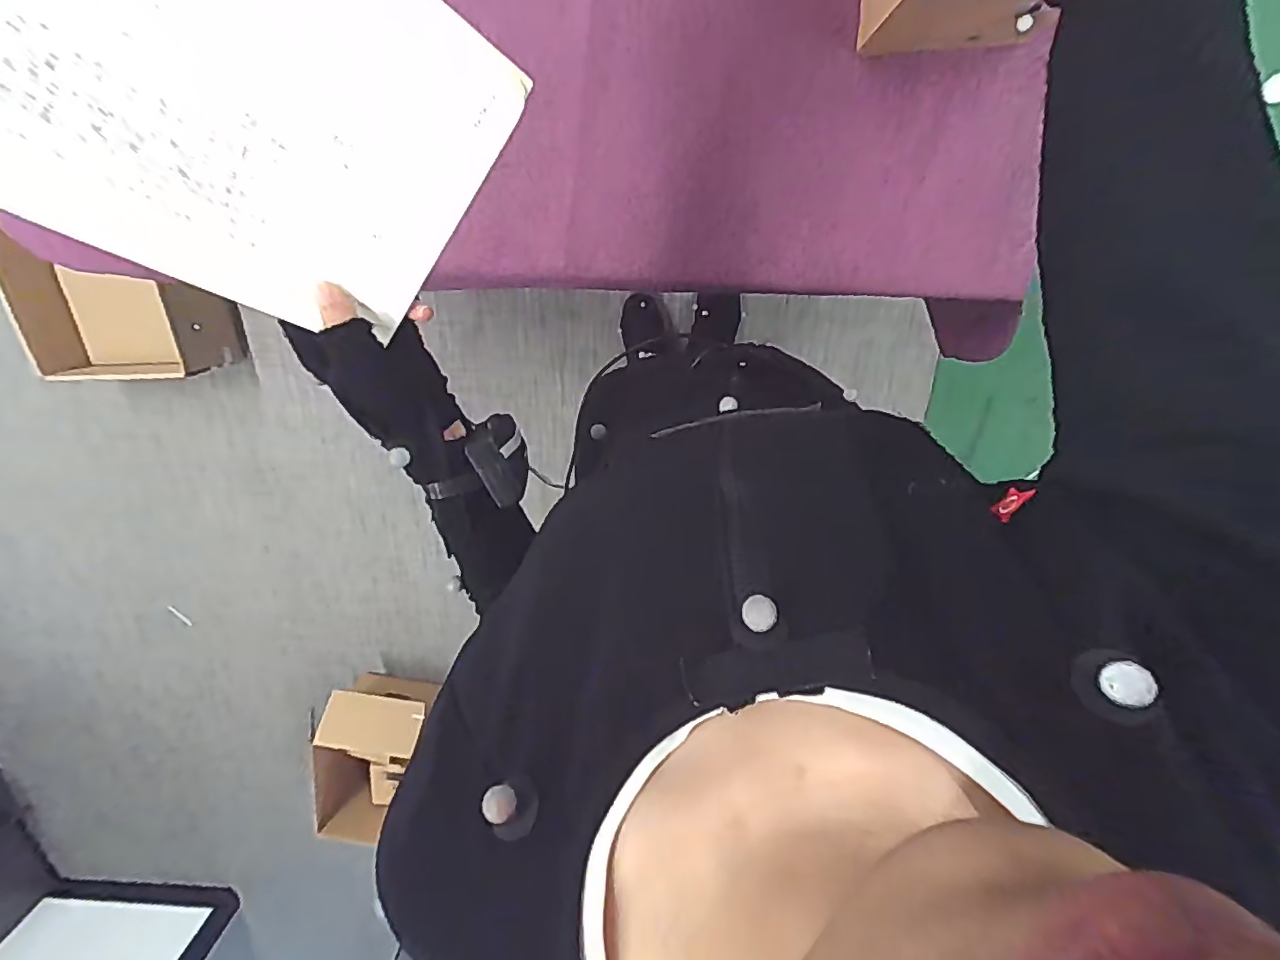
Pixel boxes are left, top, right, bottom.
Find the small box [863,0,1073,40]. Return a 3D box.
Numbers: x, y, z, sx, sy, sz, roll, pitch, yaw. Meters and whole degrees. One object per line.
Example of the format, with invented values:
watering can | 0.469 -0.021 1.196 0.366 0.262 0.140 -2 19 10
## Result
small box | 0.296 -0.488 0.439 0.168 0.176 0.179 0 112 3
